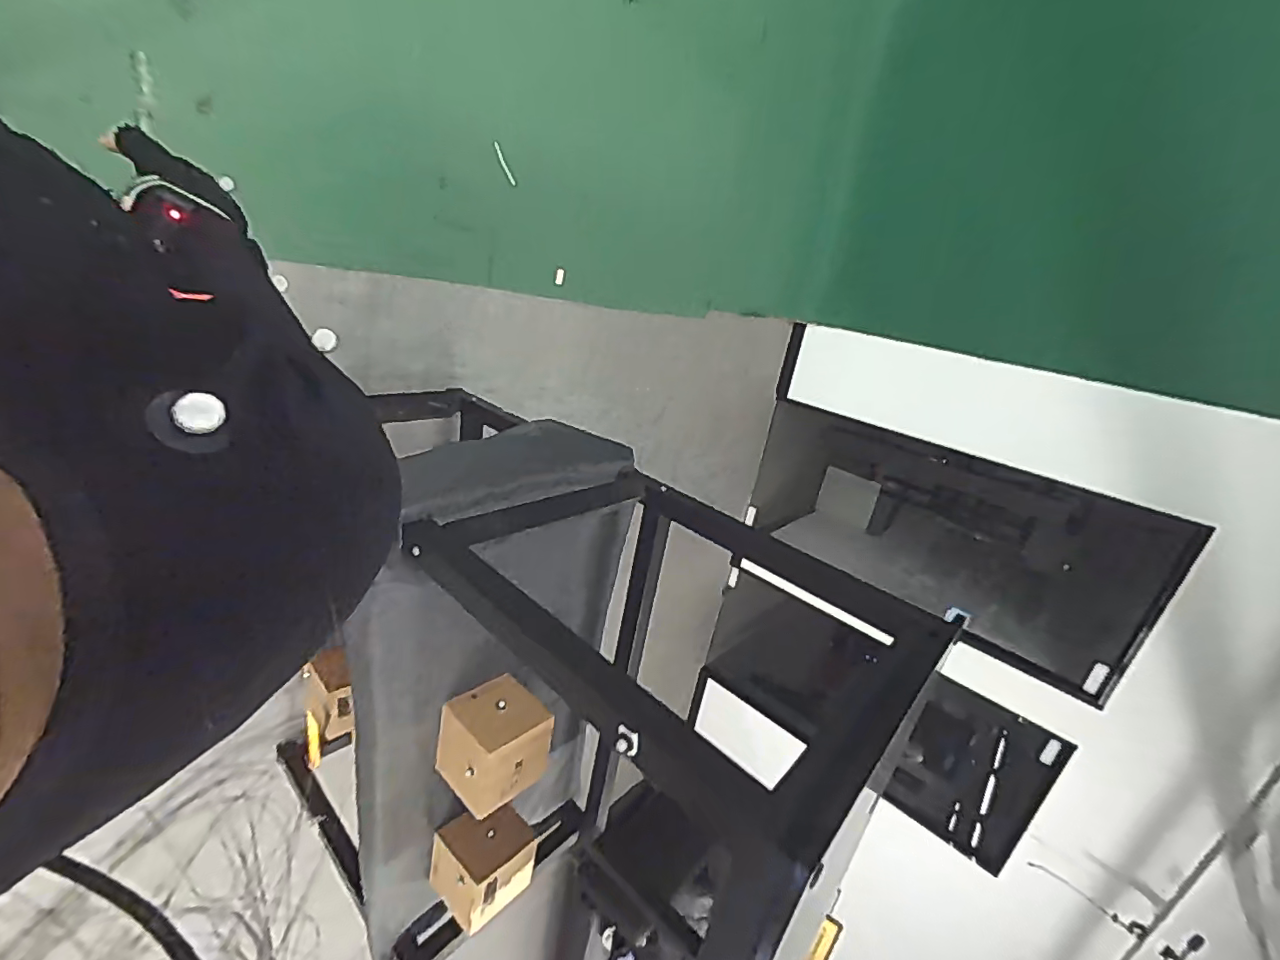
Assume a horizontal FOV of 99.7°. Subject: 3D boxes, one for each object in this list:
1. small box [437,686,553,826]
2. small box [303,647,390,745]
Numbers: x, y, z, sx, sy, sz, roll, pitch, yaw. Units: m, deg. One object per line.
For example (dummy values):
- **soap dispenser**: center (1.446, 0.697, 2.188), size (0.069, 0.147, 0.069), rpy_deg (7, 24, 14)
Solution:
- **small box**: center (-0.309, 0.565, 1.139), size (0.168, 0.176, 0.179), rpy_deg (-10, 118, -49)
- **small box**: center (-0.850, 0.615, 1.560), size (0.179, 0.176, 0.168), rpy_deg (-9, 118, -49)
